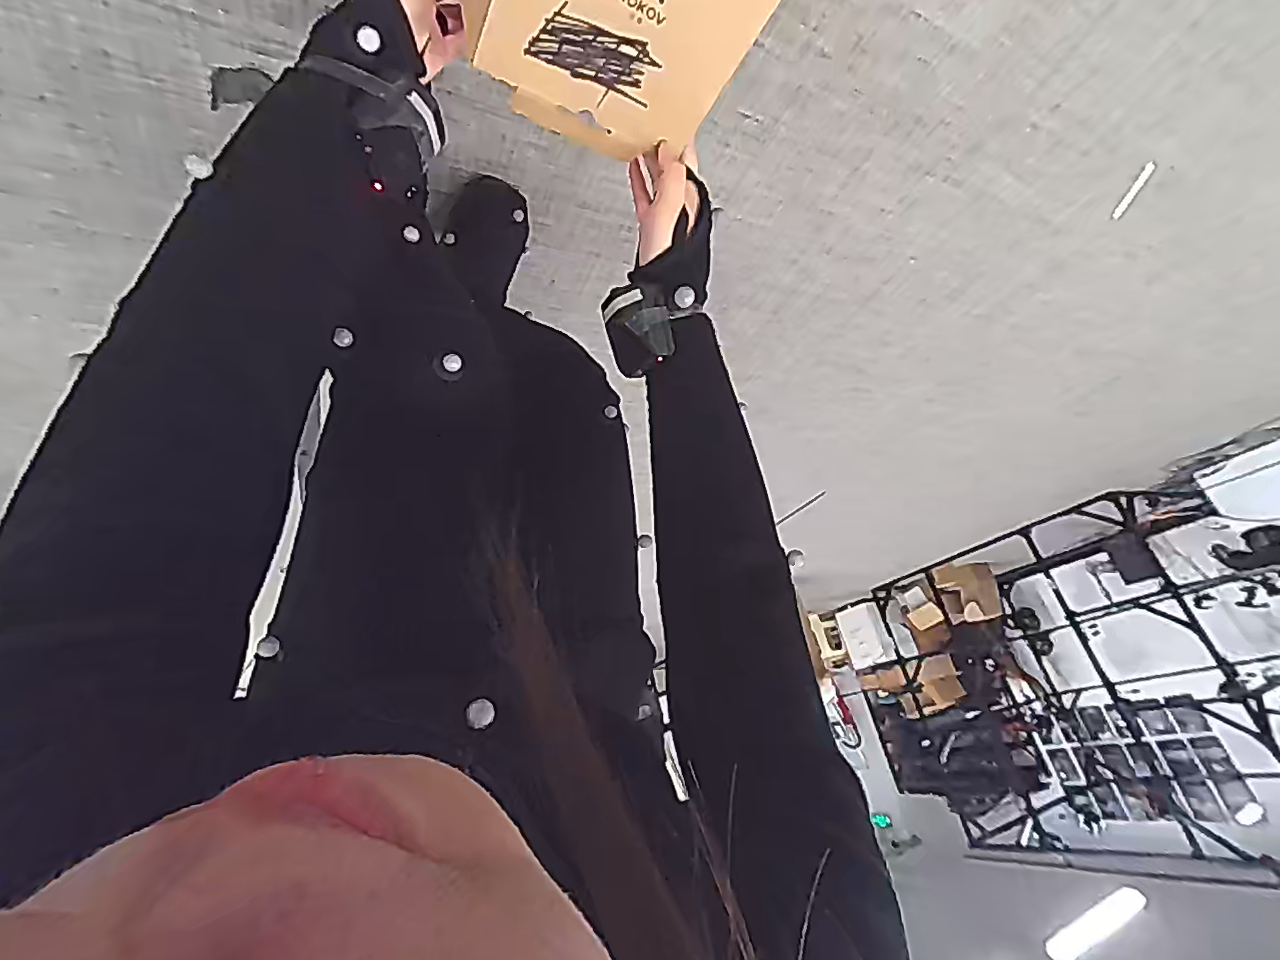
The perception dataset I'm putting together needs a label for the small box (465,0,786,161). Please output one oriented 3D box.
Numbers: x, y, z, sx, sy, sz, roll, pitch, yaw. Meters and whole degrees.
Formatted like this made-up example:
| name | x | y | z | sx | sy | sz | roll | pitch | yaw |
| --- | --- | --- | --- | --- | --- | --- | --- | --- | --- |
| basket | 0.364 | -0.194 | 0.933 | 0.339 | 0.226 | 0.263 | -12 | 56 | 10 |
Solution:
| name | x | y | z | sx | sy | sz | roll | pitch | yaw |
| --- | --- | --- | --- | --- | --- | --- | --- | --- | --- |
| small box | -0.010 | -0.365 | 0.351 | 0.168 | 0.176 | 0.179 | 4 | 150 | -35 |
